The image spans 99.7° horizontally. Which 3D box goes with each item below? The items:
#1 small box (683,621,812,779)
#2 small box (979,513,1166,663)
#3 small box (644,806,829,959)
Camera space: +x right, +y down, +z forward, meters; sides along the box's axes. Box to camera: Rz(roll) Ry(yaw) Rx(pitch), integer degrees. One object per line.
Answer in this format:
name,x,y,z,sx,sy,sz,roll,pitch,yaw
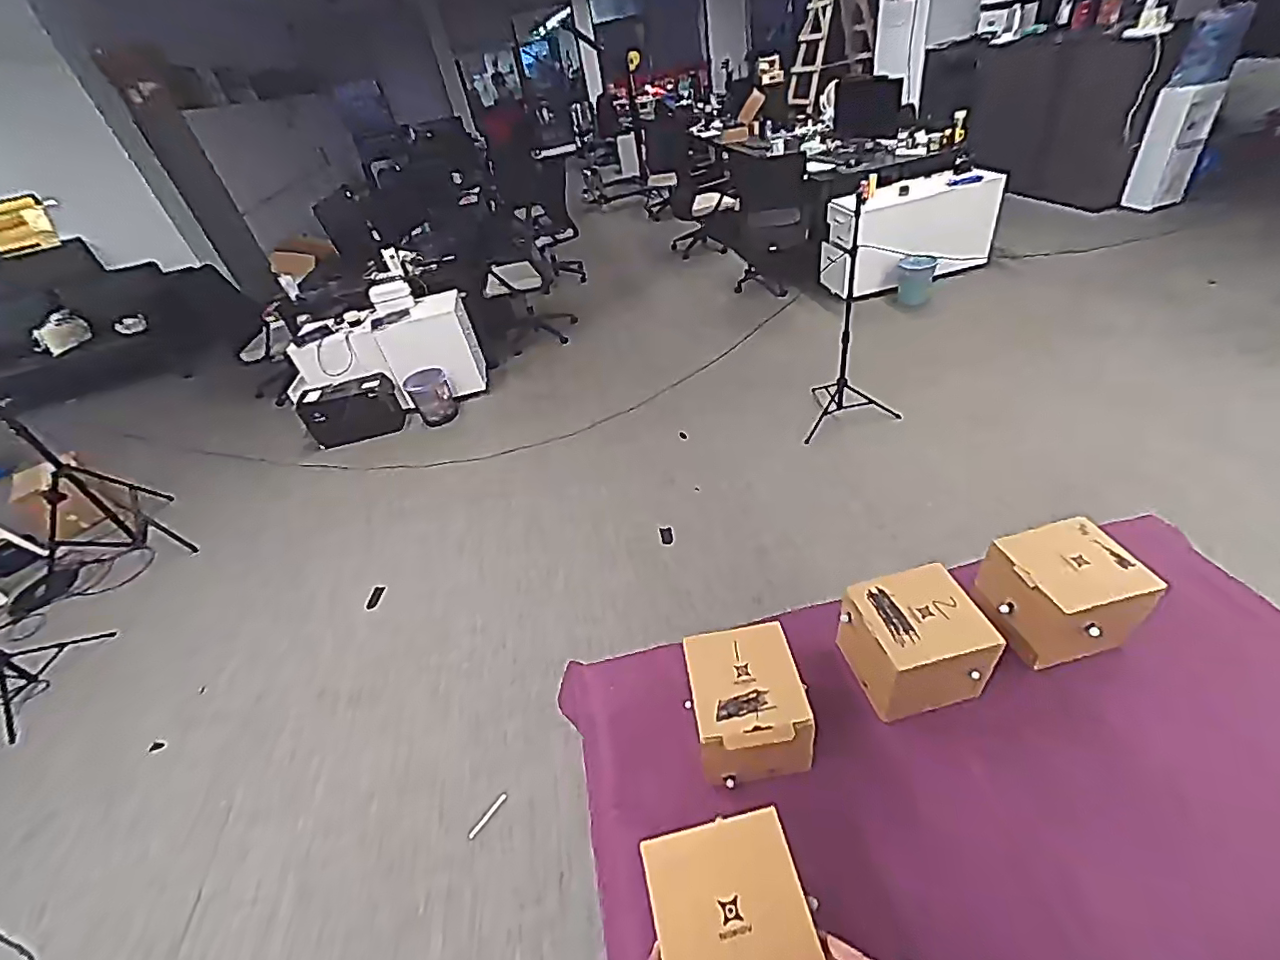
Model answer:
small box,0.170,0.360,0.875,0.168,0.176,0.179,-11,39,2
small box,0.722,0.189,0.933,0.179,0.176,0.168,-15,41,-2
small box,0.104,0.513,0.628,0.168,0.176,0.179,-13,49,-6
